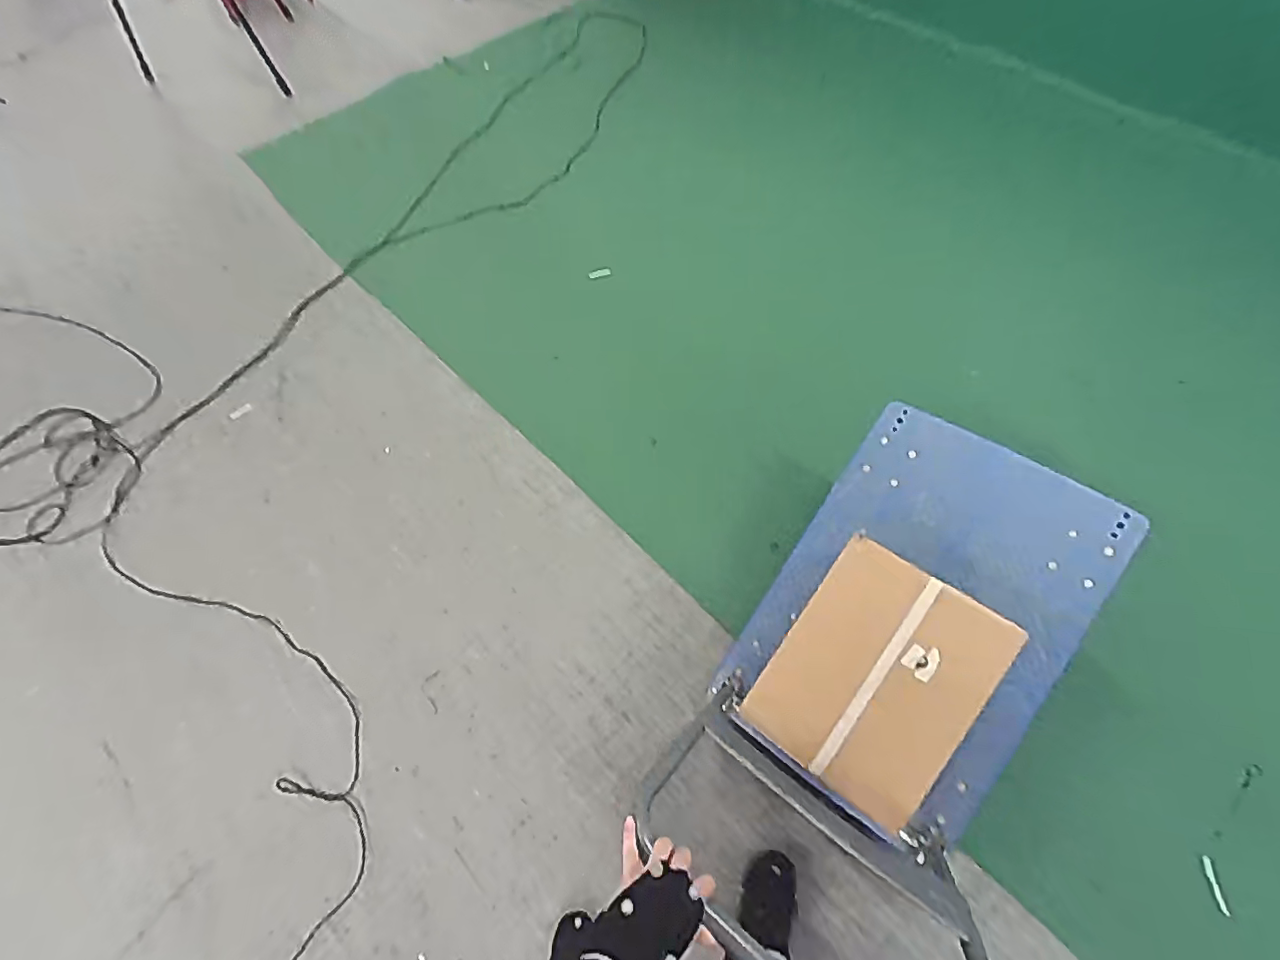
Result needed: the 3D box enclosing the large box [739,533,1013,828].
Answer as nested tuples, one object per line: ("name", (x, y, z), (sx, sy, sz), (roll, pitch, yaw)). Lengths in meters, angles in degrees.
("large box", (0.448, 0.375, 1.092), (0.320, 0.320, 0.408), (33, 88, 21))
